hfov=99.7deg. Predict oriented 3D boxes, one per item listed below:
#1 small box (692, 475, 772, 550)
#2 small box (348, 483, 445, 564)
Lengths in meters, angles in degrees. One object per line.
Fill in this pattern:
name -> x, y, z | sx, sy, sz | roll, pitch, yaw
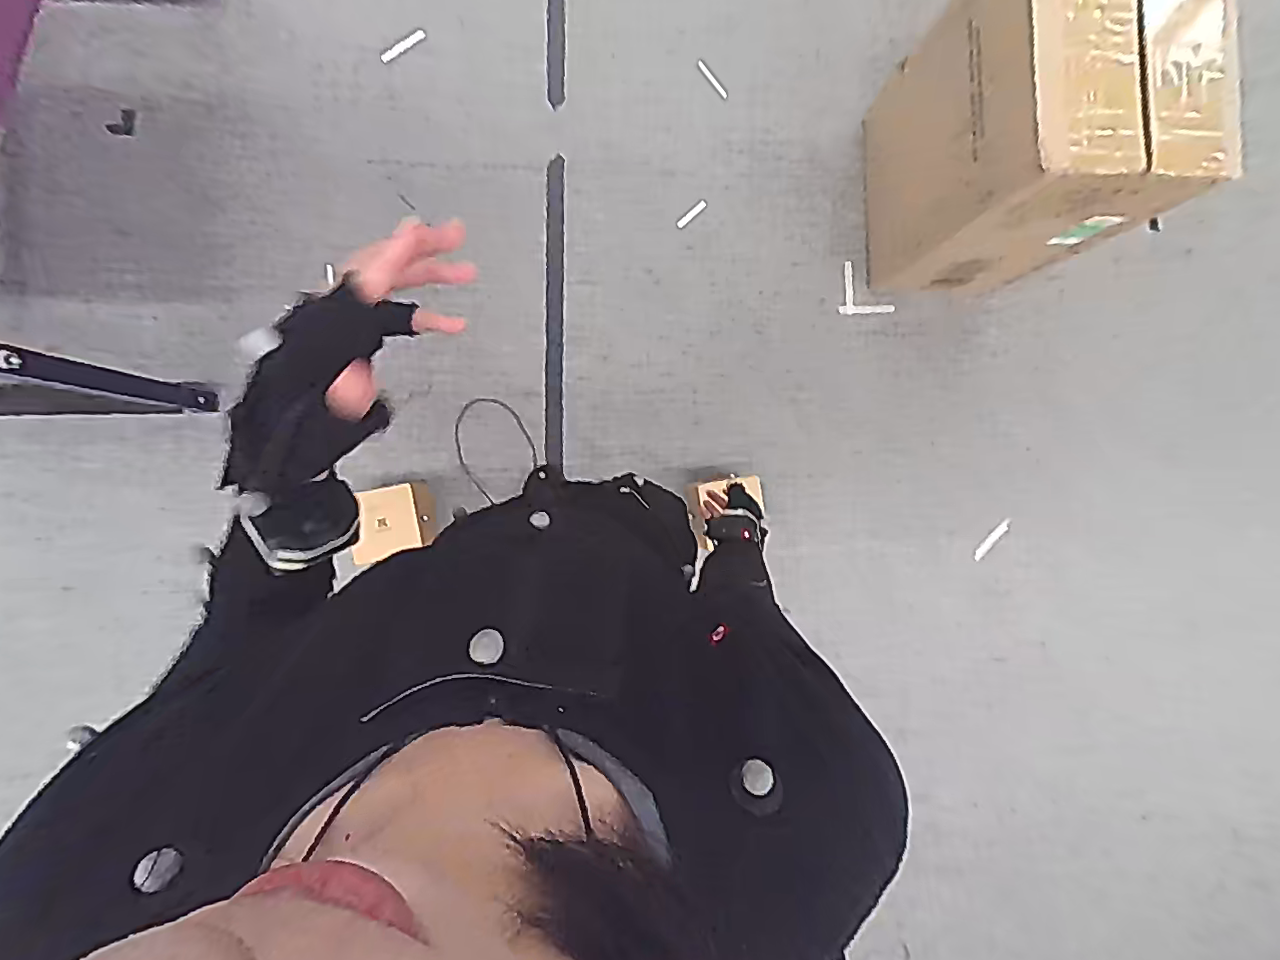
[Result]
small box -> 0.244, 0.082, 1.471 | 0.168, 0.176, 0.179 | -10, 91, -5
small box -> -0.622, 0.108, 1.400 | 0.168, 0.176, 0.179 | -12, 88, -5
